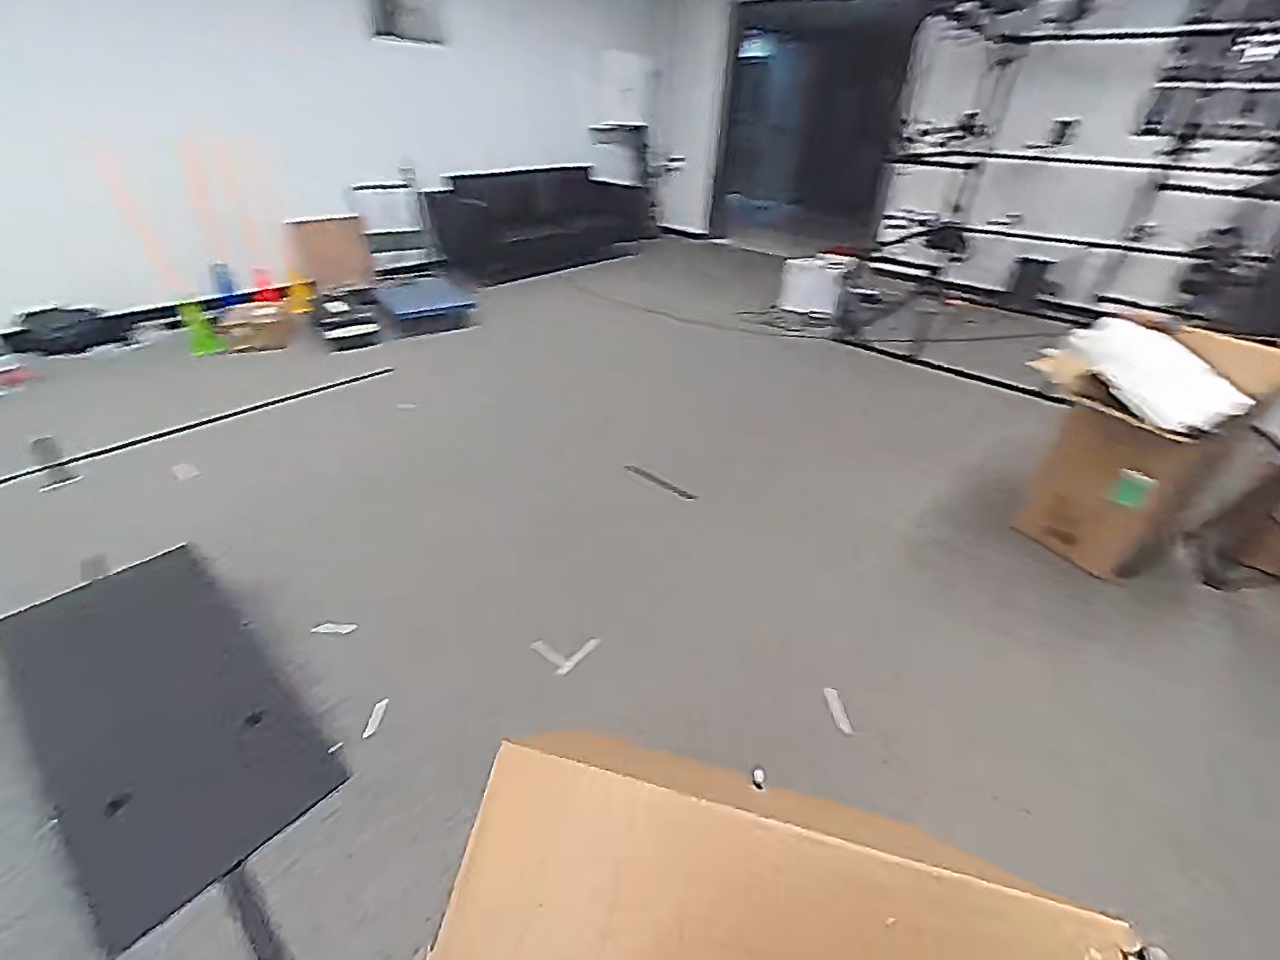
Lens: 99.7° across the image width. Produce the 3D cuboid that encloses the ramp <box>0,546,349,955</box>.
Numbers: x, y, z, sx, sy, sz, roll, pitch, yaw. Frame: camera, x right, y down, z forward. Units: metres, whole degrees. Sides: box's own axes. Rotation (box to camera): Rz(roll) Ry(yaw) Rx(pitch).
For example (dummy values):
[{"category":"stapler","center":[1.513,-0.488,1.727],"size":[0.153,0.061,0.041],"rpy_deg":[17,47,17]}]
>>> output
[{"category":"ramp","center":[-1.255,0.586,1.430],"size":[0.991,0.206,0.509],"rpy_deg":[27,40,30]}]

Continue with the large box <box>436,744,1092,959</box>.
[{"category":"large box","center":[0.061,0.429,0.443],"size":[0.408,0.320,0.320],"rpy_deg":[11,69,6]}]
